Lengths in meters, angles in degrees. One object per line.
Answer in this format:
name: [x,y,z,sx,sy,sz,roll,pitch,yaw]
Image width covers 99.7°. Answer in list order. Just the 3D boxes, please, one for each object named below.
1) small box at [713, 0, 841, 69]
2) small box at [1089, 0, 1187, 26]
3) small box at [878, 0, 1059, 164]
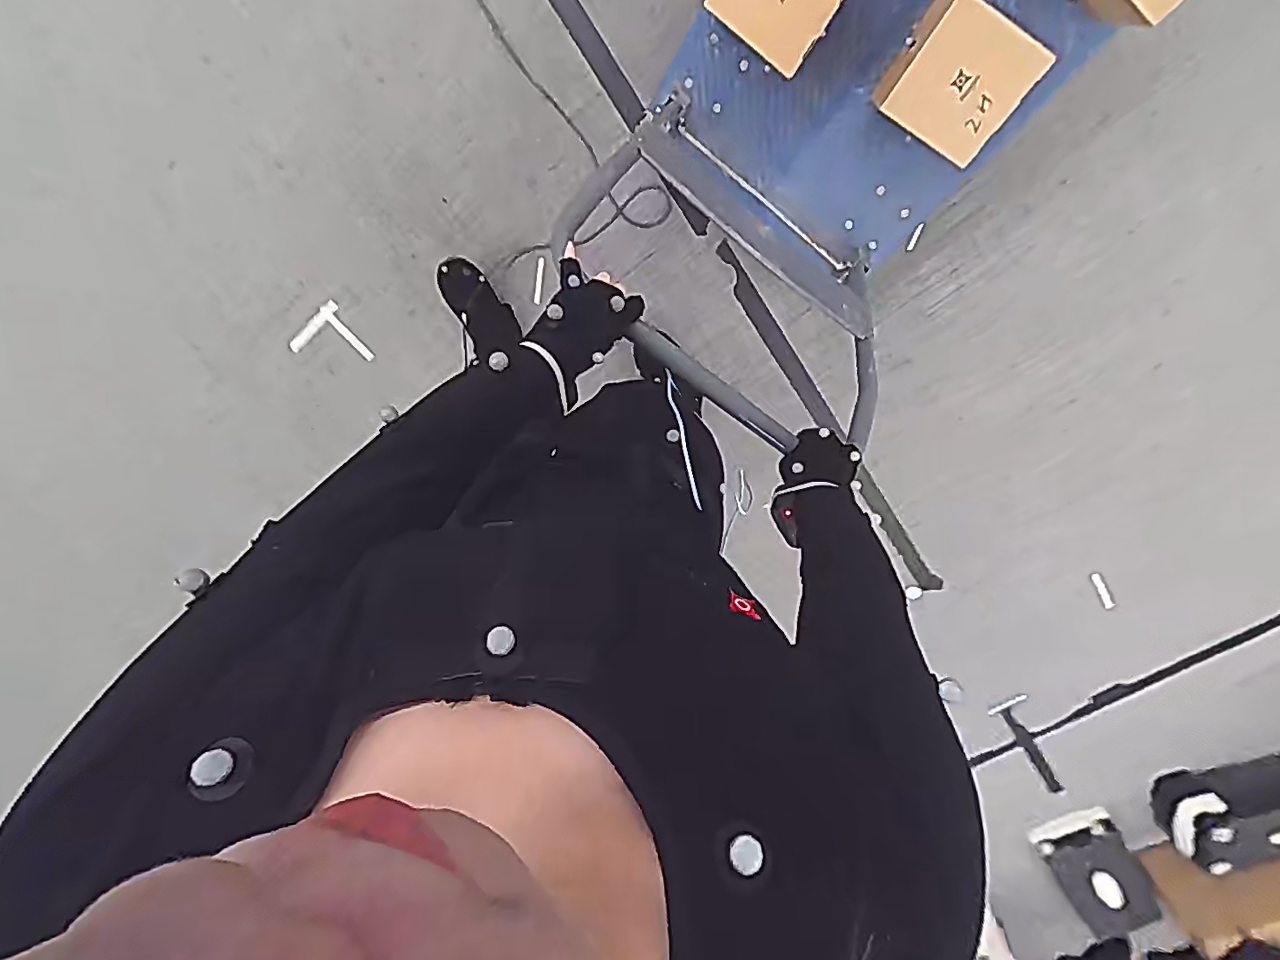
small box: [0.230,-0.786,0.843,0.179,0.176,0.168,32,132,-12]
small box: [0.704,-0.758,0.718,0.168,0.176,0.179,35,132,-13]
small box: [0.510,-0.652,0.872,0.179,0.176,0.168,30,132,-9]
